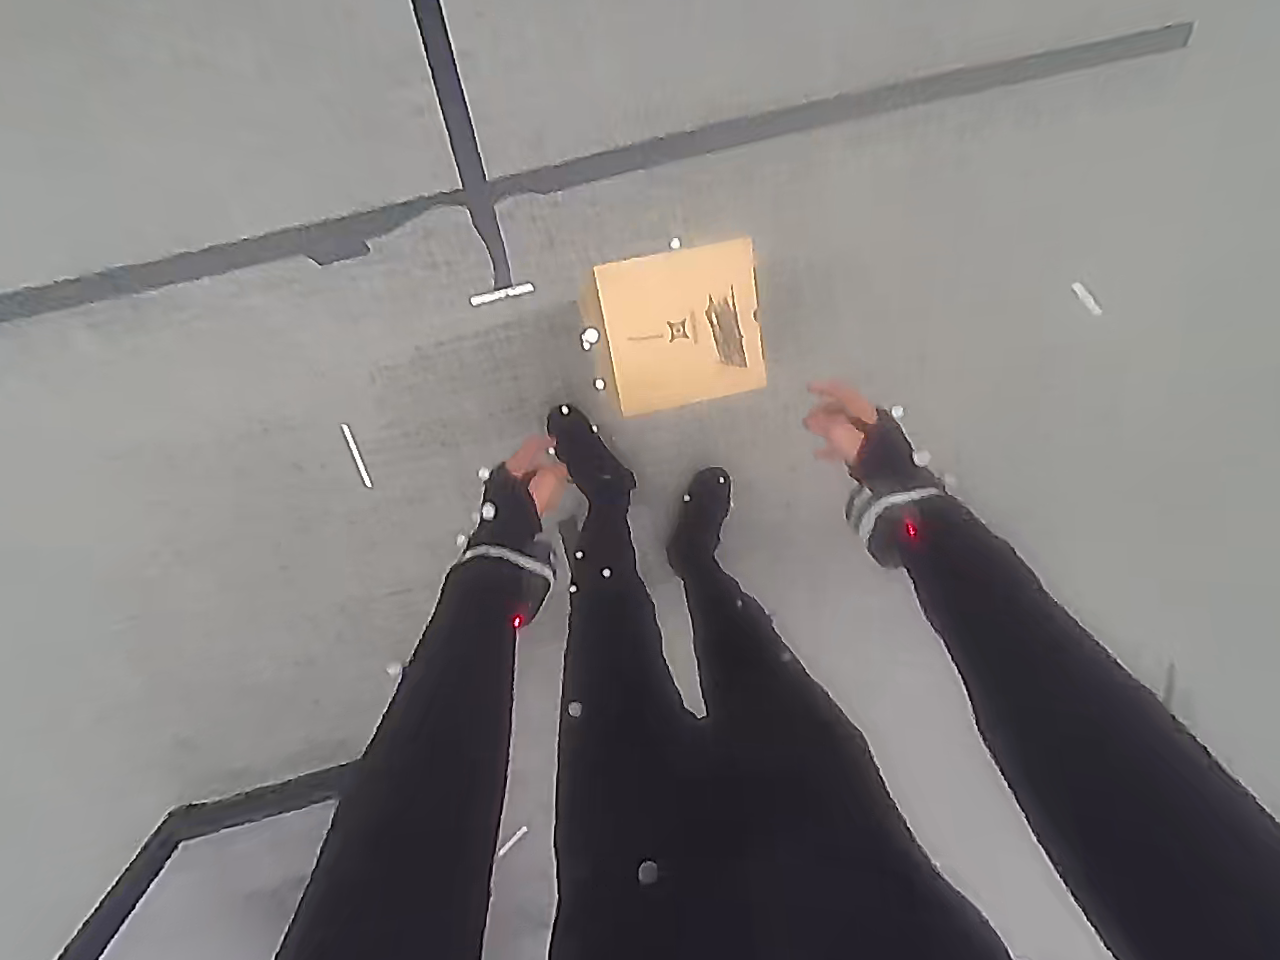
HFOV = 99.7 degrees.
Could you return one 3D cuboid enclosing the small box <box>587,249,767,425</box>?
[{"bbox_3d":[0.038,-0.180,0.668,0.179,0.176,0.168,-13,110,-4],"label":"small box"}]
